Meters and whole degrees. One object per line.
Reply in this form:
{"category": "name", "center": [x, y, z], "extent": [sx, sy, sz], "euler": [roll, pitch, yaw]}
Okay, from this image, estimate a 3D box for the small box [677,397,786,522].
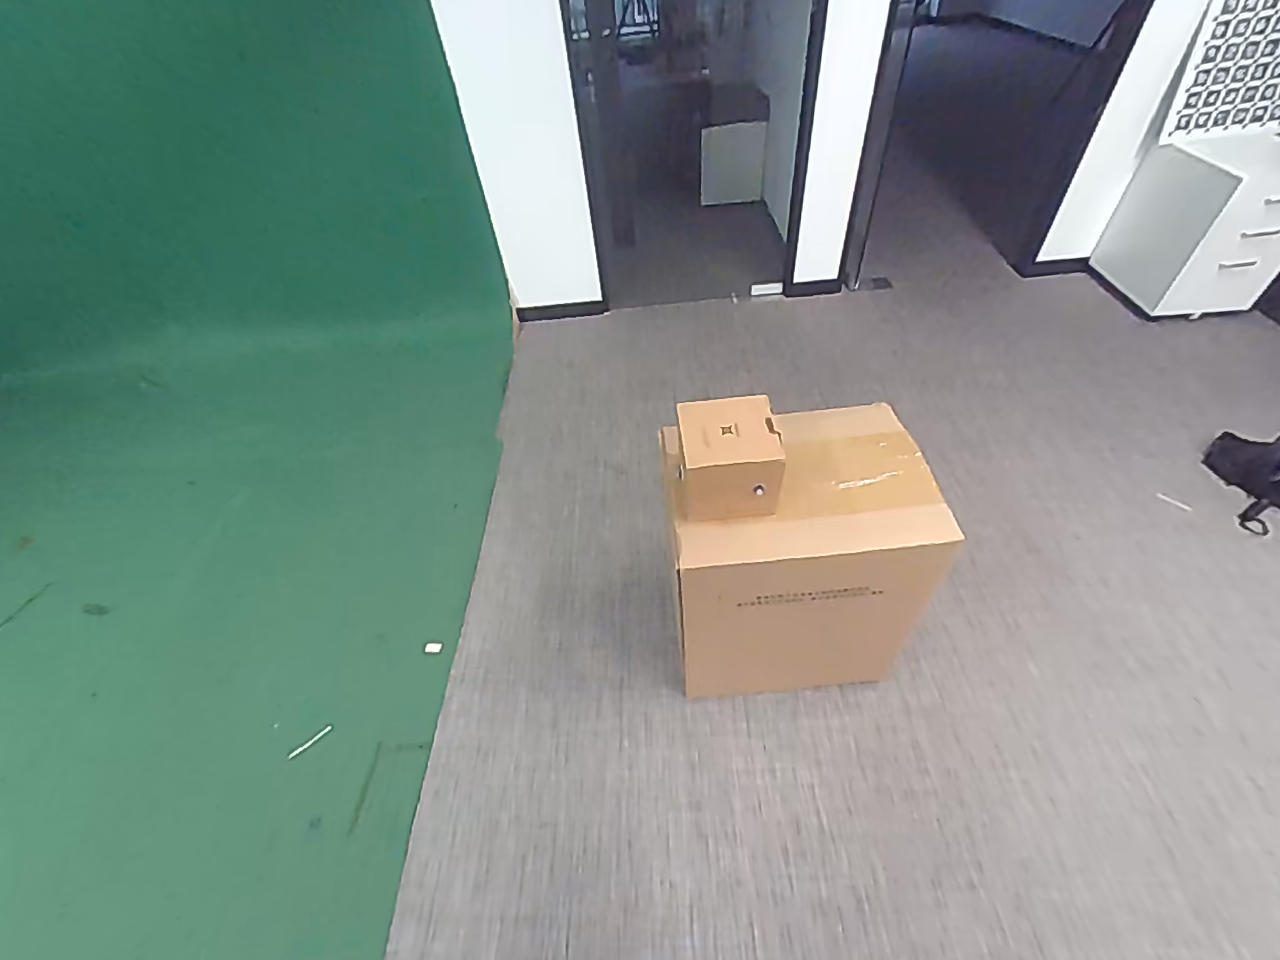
{"category": "small box", "center": [0.169, -0.035, 1.046], "extent": [0.179, 0.176, 0.168], "euler": [-7, 50, 2]}
